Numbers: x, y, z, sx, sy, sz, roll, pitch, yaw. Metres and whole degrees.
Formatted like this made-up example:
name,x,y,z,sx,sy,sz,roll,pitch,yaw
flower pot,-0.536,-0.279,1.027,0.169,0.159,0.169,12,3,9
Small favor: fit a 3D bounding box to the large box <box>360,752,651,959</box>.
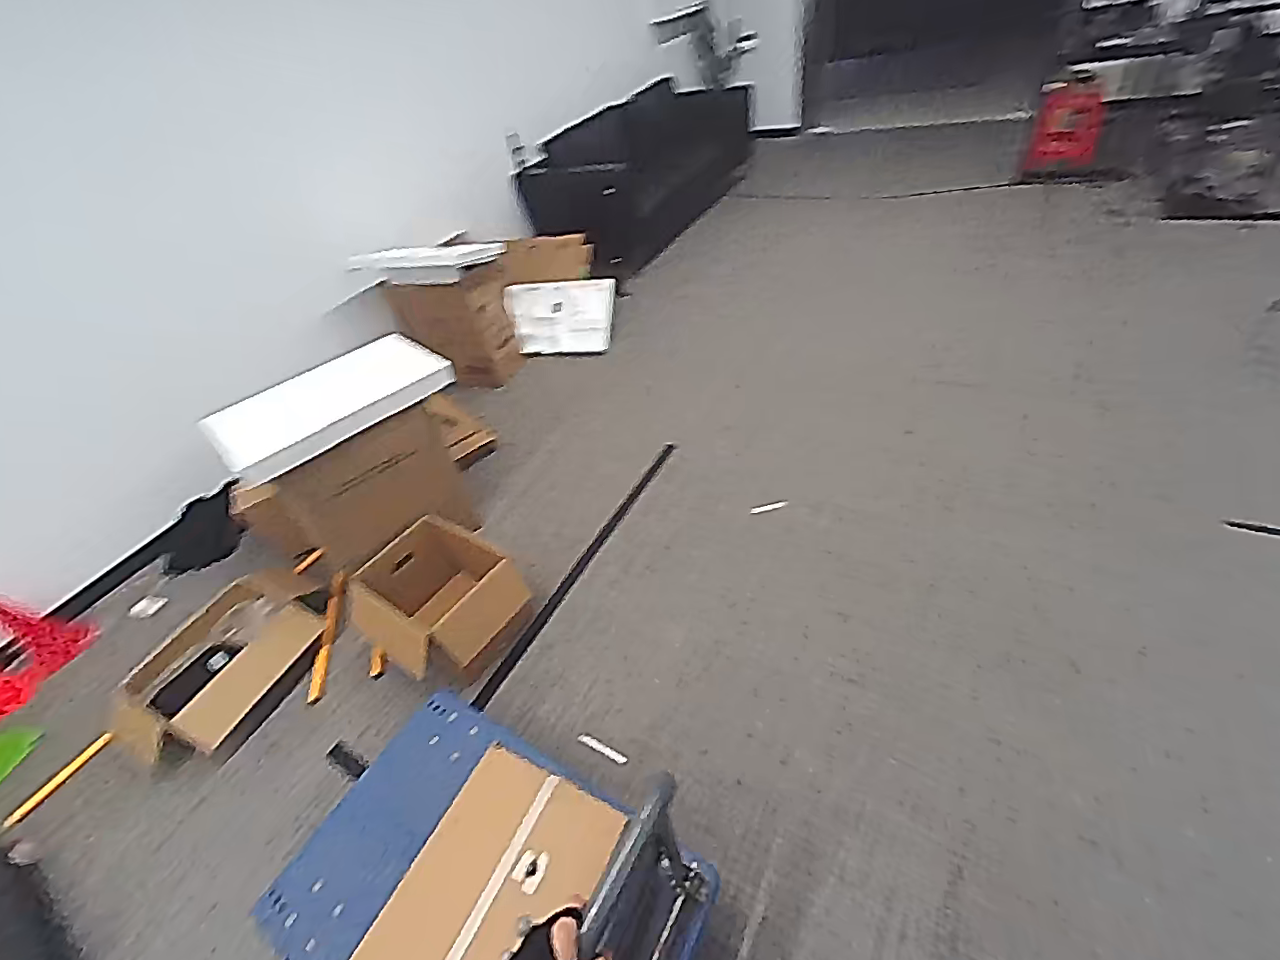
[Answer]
name,x,y,z,sx,sy,sz,roll,pitch,yaw
large box,-0.217,0.797,0.963,0.320,0.320,0.408,13,46,26
